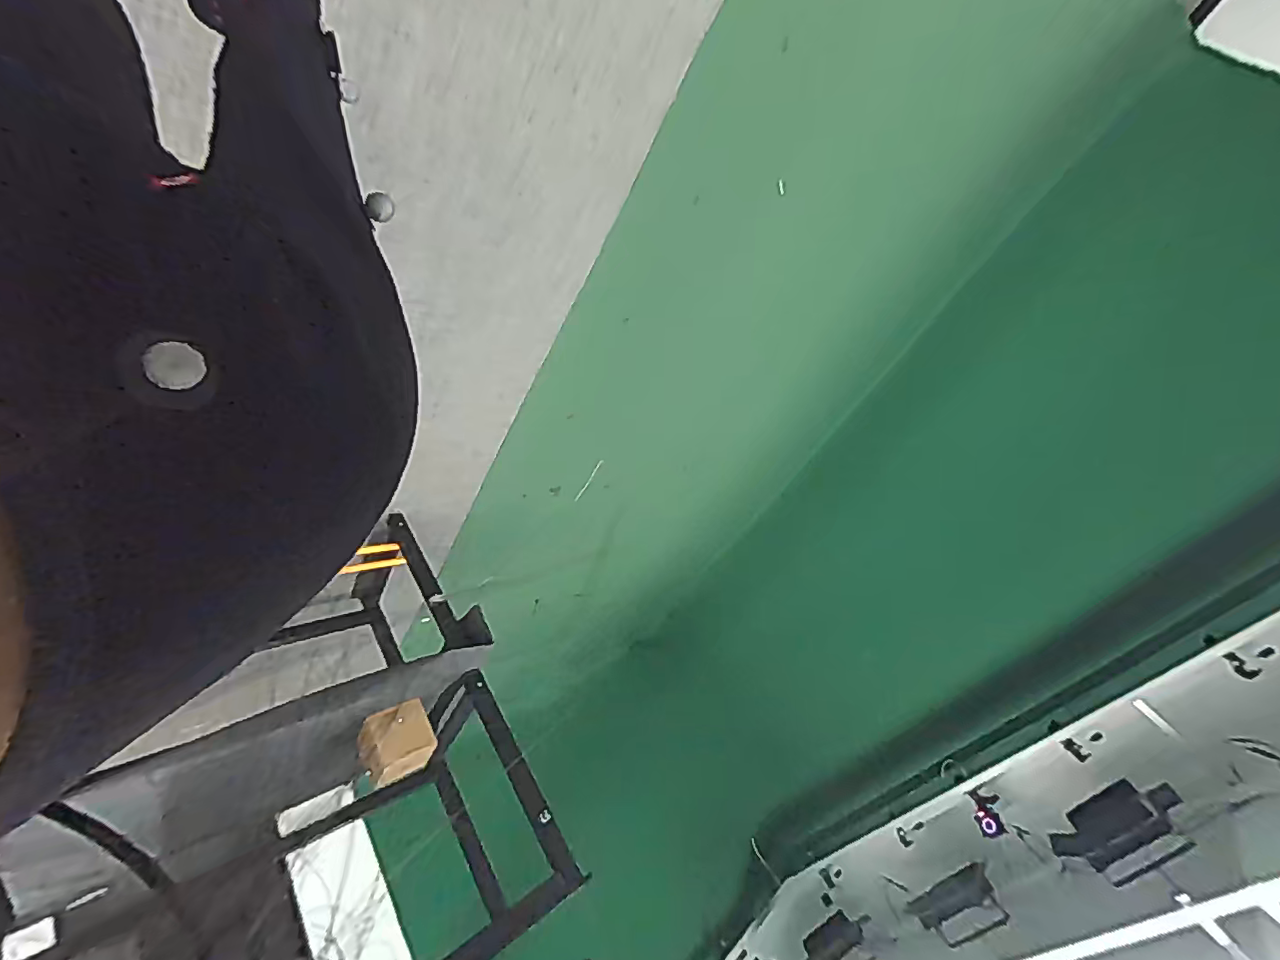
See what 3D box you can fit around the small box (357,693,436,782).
[{"bbox_3d":[-0.785,0.819,1.731,0.168,0.176,0.179,-9,141,-47],"label":"small box"}]
